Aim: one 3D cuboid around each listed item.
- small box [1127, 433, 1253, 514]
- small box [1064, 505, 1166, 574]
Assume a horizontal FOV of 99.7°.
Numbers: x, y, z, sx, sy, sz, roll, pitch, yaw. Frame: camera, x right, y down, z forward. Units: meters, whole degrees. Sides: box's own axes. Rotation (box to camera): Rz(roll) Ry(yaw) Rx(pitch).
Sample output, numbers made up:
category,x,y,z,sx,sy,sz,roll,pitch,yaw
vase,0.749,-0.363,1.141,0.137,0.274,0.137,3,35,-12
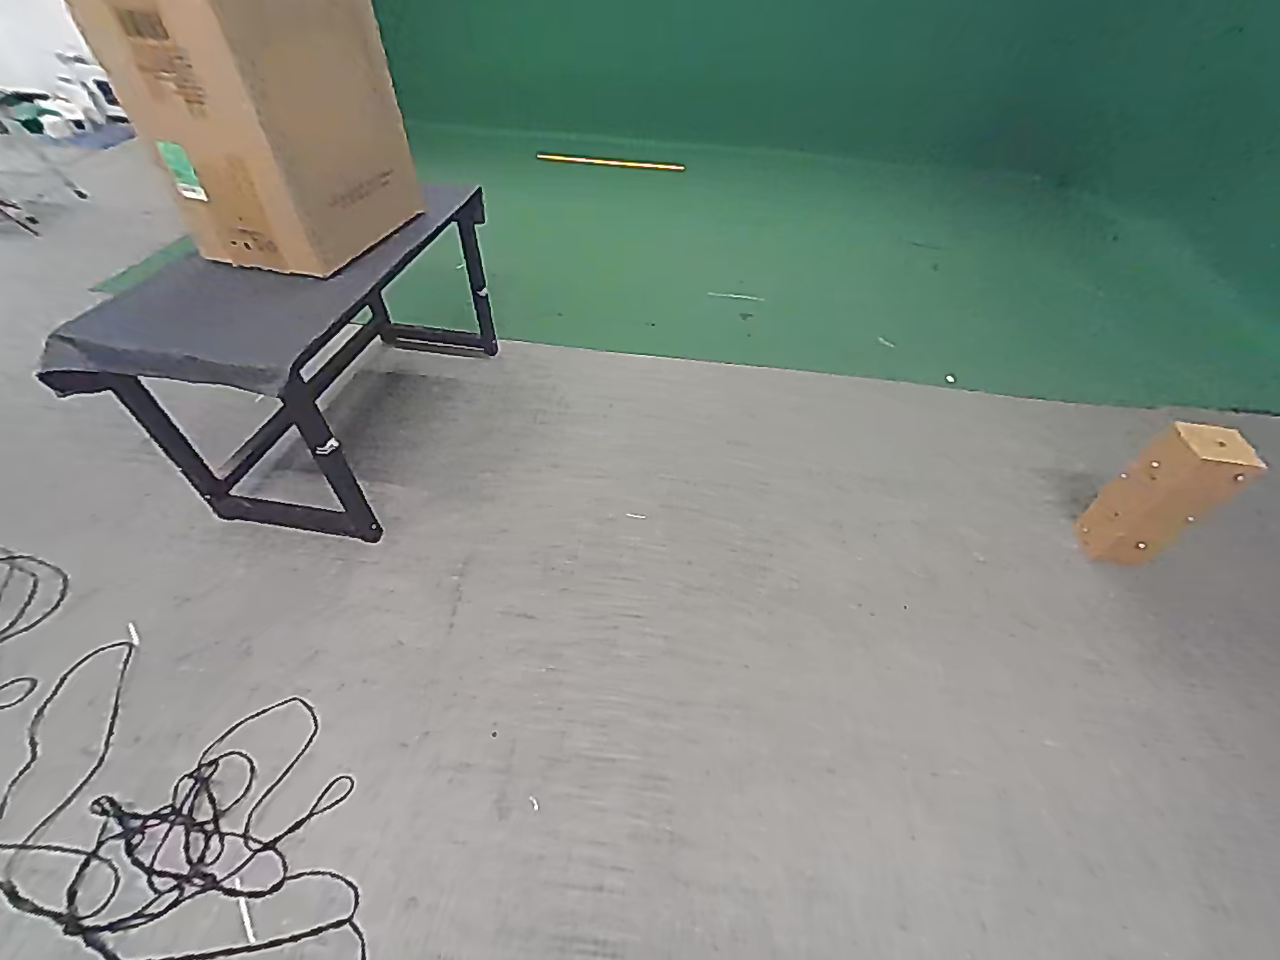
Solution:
category,x,y,z,sx,sy,sz,roll,pitch,yaw
small box,1.654,-0.017,1.639,0.179,0.176,0.168,10,46,6
small box,1.637,0.210,1.877,0.179,0.176,0.168,7,47,4
